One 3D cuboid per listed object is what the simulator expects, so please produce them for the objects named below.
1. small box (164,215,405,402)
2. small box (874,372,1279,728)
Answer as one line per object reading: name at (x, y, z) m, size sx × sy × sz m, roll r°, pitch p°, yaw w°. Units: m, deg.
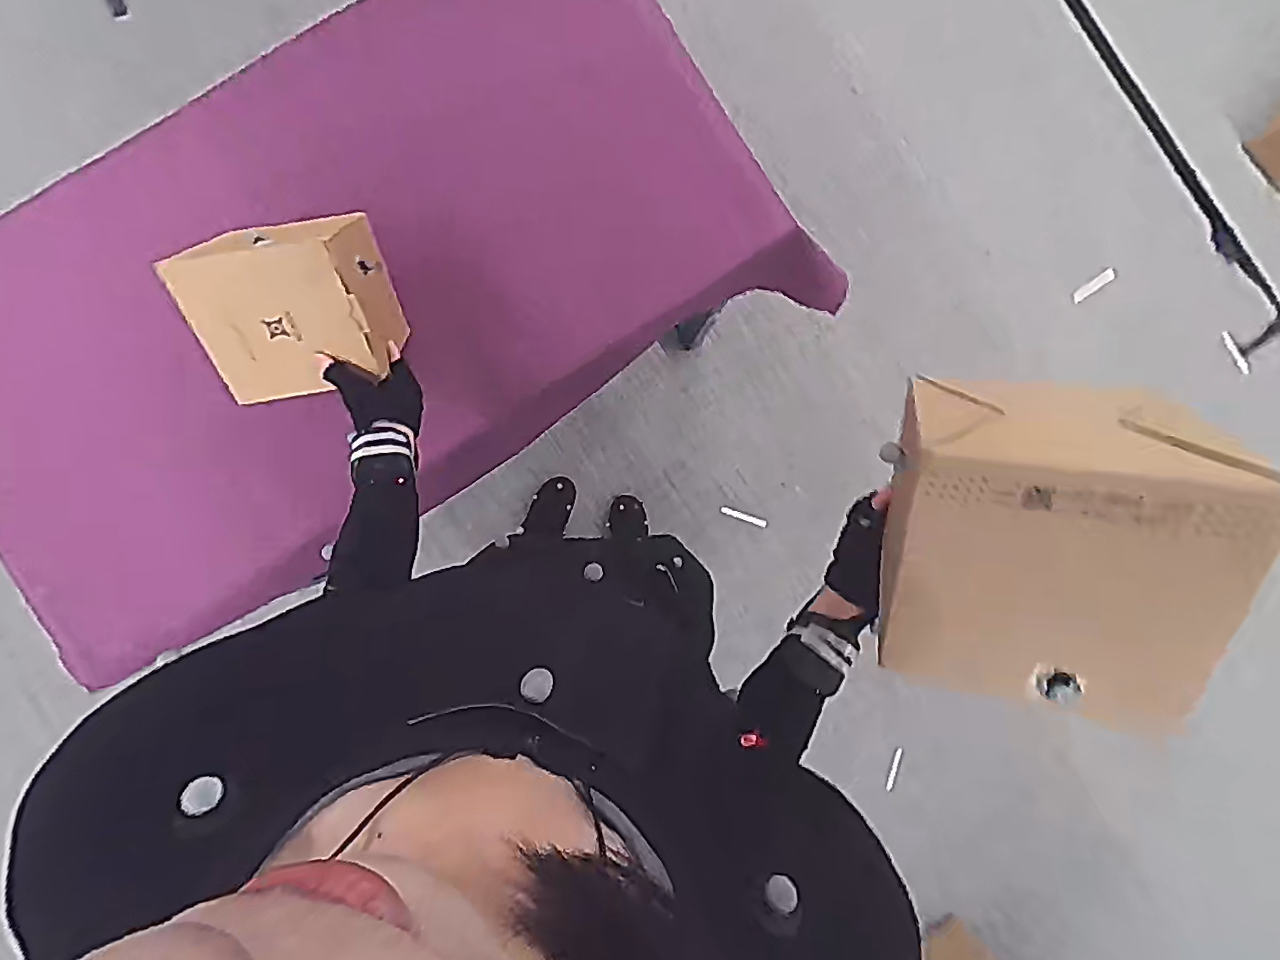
small box at (-0.413, -0.220, 0.675) m, size 0.179 × 0.176 × 0.168 m, roll -11°, pitch 124°, yaw -2°
small box at (0.263, 0.025, 0.374) m, size 0.168 × 0.179 × 0.176 m, roll 7°, pitch 118°, yaw 22°
